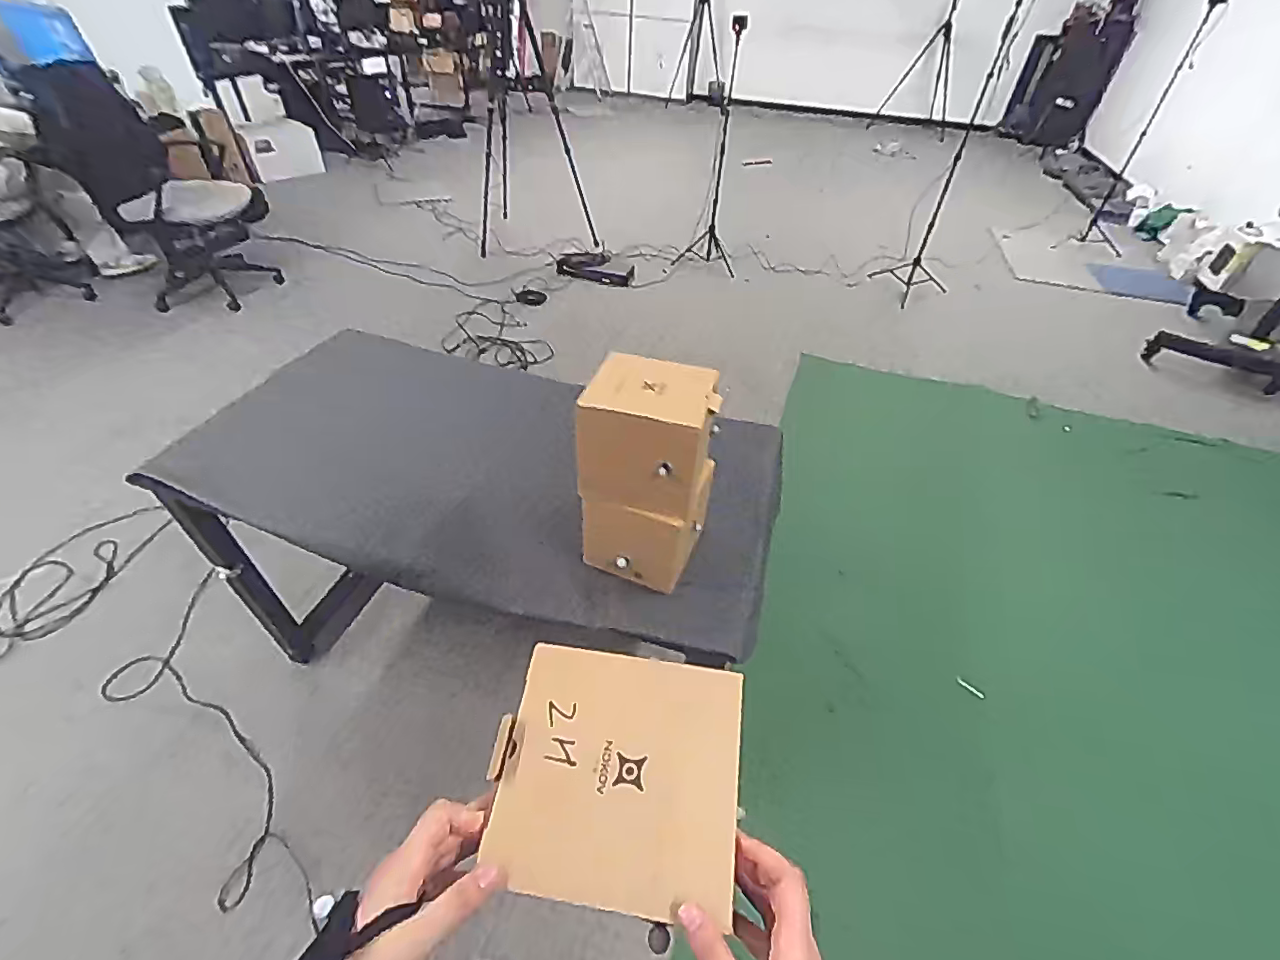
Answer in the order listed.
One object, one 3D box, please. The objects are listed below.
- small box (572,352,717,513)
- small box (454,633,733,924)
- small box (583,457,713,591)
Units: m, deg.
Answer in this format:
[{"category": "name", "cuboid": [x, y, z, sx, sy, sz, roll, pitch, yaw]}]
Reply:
[{"category": "small box", "cuboid": [0.009, -0.071, 0.817, 0.179, 0.176, 0.168, 11, 40, 10]}, {"category": "small box", "cuboid": [-0.023, 0.249, 0.456, 0.179, 0.176, 0.168, 6, 53, 7]}, {"category": "small box", "cuboid": [0.011, 0.054, 0.921, 0.168, 0.176, 0.179, 17, 43, 16]}]
